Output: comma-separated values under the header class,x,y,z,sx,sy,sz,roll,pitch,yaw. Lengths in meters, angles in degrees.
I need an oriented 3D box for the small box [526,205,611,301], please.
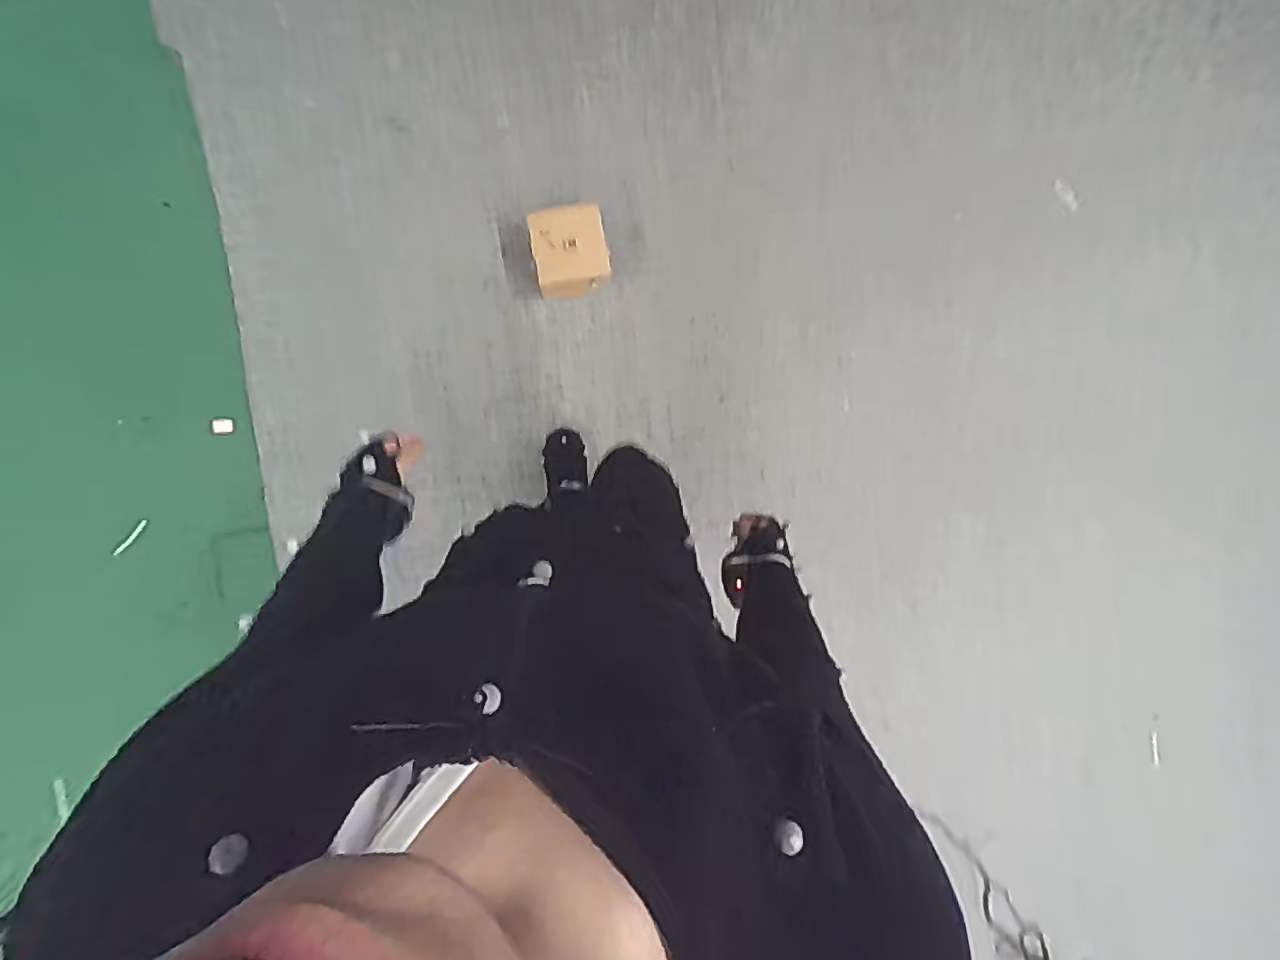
class,x,y,z,sx,sy,sz,roll,pitch,yaw
small box,-0.175,-0.560,1.352,0.179,0.176,0.168,-12,96,-4
